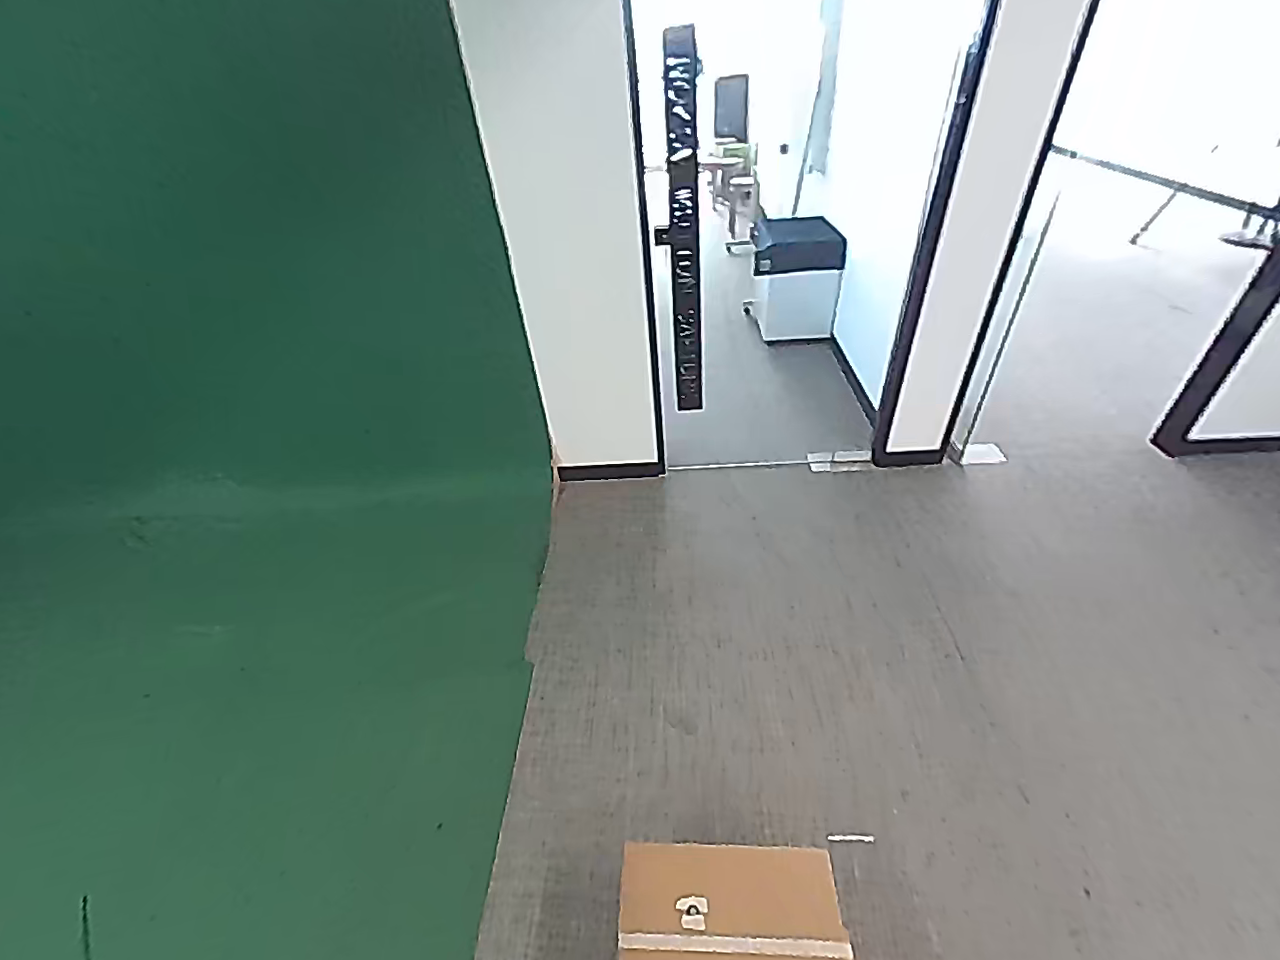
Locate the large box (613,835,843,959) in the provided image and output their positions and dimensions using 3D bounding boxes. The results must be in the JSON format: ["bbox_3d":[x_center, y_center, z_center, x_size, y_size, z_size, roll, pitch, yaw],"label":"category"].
[{"bbox_3d":[0.166,0.922,1.057,0.408,0.320,0.320,-2,40,6],"label":"large box"}]
